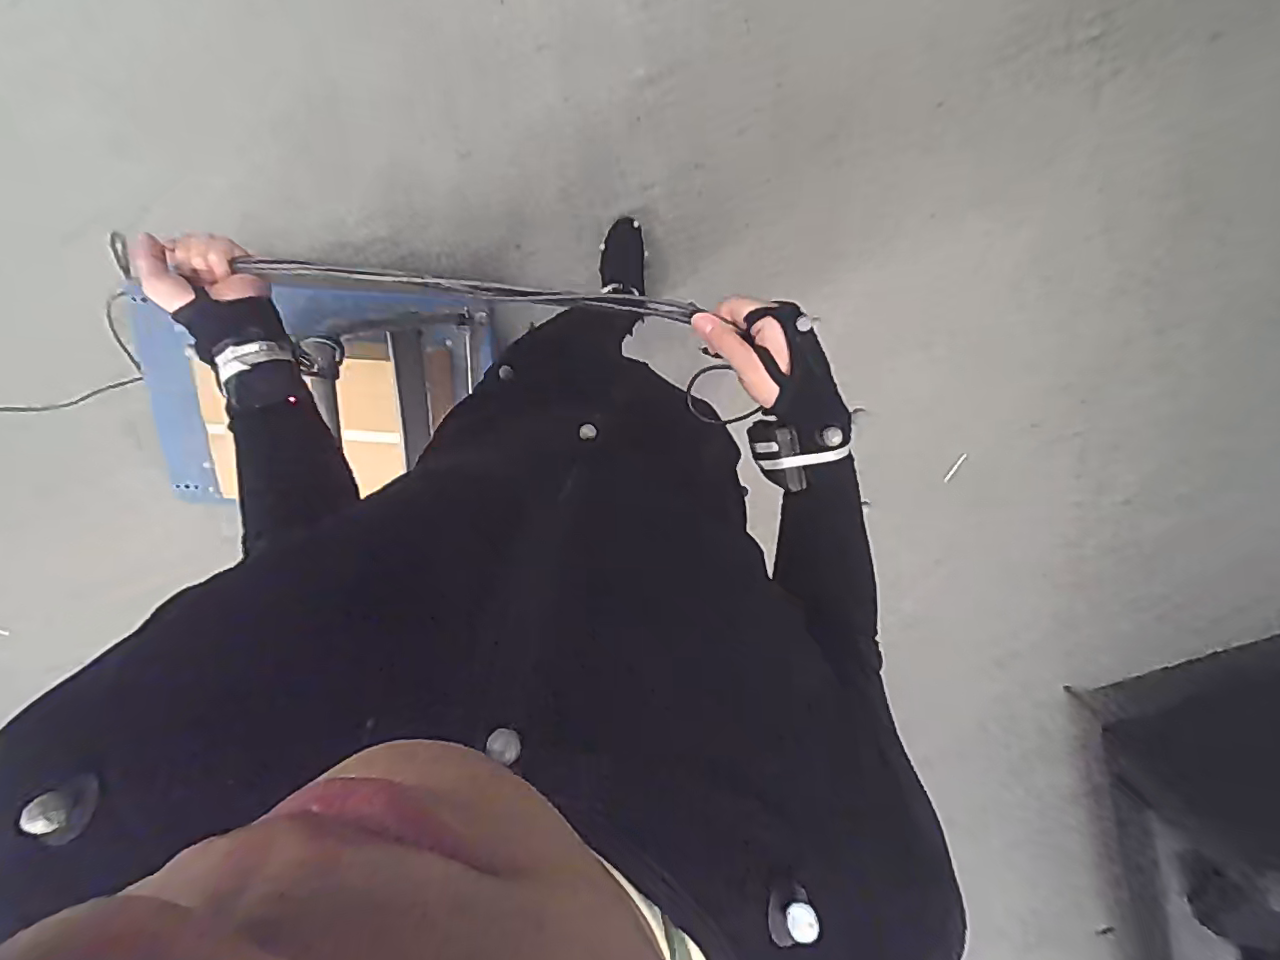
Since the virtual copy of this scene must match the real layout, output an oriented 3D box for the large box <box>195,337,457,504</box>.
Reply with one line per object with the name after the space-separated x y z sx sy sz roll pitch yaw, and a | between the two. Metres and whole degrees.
-0.673 -0.151 1.238 0.408 0.320 0.320 3 109 -1 | large box
